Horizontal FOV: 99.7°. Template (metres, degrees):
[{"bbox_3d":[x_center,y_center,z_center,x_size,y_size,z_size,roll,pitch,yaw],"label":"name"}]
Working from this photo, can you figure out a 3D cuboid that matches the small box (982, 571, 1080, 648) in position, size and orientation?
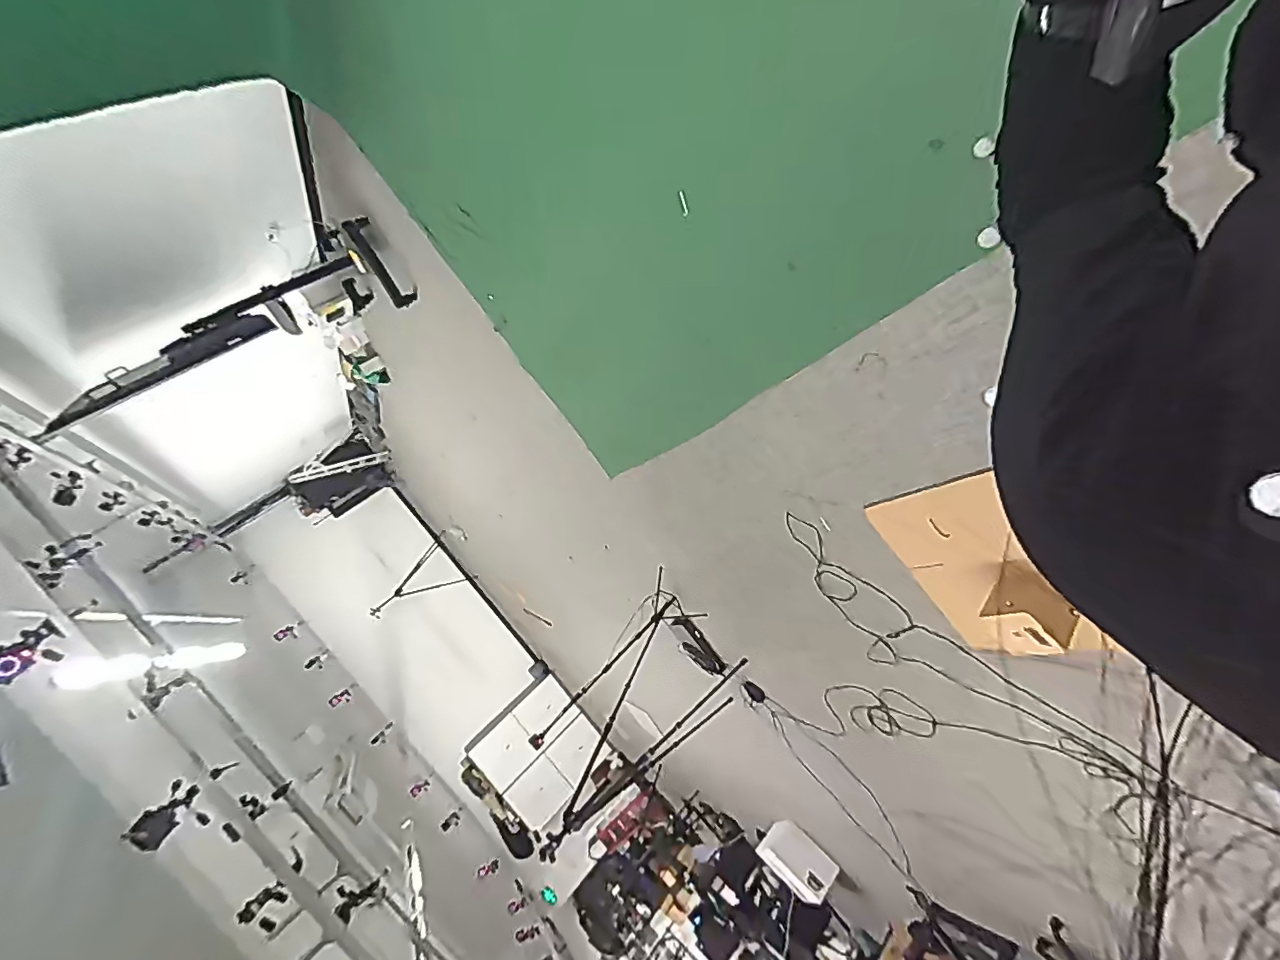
[{"bbox_3d":[1.236,0.406,1.701,0.168,0.176,0.179,48,153,2],"label":"small box"}]
